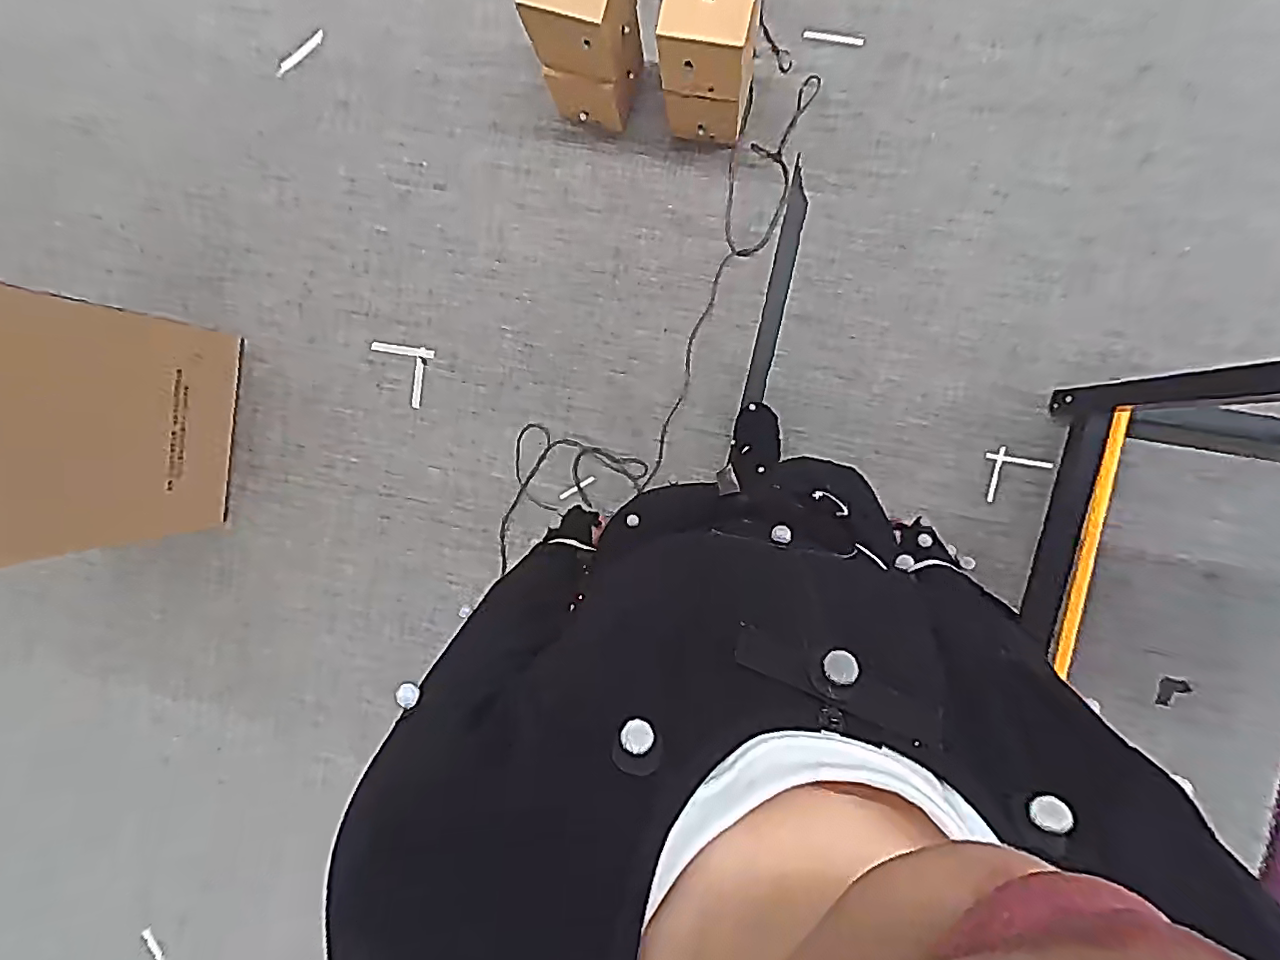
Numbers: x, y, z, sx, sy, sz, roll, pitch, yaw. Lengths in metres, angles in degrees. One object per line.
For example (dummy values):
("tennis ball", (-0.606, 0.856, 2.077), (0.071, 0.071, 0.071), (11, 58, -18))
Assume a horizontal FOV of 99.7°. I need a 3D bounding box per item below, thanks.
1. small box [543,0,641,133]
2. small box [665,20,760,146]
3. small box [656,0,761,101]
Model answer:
("small box", (-0.100, -0.937, 1.227), (0.168, 0.176, 0.179), (19, 97, 5))
("small box", (0.159, -0.886, 1.202), (0.168, 0.176, 0.179), (13, 96, 7))
("small box", (0.137, -0.876, 1.041), (0.168, 0.176, 0.179), (13, 95, 6))
